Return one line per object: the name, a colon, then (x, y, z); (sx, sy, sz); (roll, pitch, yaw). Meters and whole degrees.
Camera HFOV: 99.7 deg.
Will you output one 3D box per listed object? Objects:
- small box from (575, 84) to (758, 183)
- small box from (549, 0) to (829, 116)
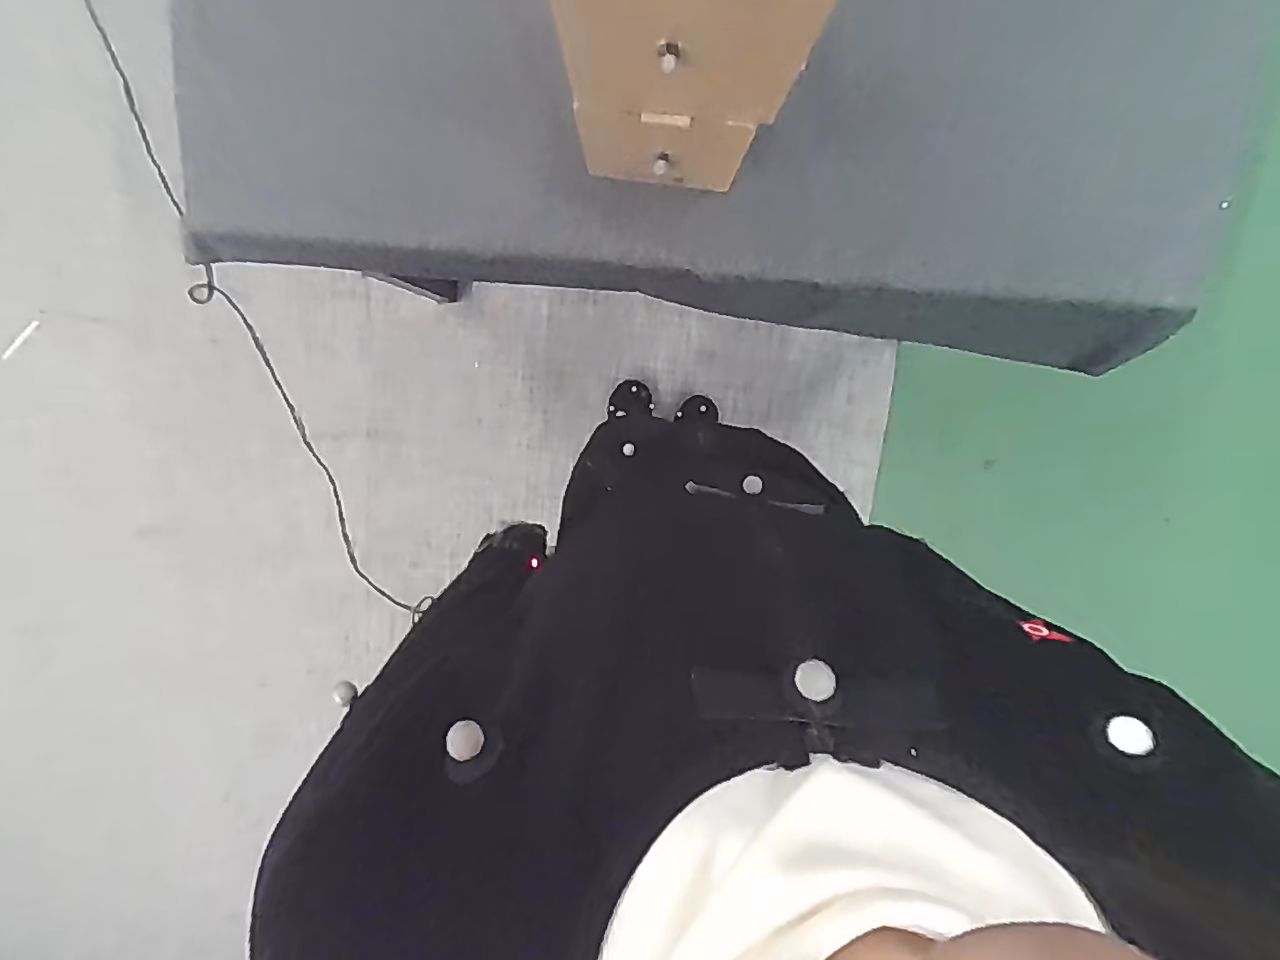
small box: (0.034, -0.418, 0.537); (0.168, 0.176, 0.179); (6, 101, 0)
small box: (0.037, -0.383, 0.376); (0.179, 0.176, 0.168); (5, 100, 1)
